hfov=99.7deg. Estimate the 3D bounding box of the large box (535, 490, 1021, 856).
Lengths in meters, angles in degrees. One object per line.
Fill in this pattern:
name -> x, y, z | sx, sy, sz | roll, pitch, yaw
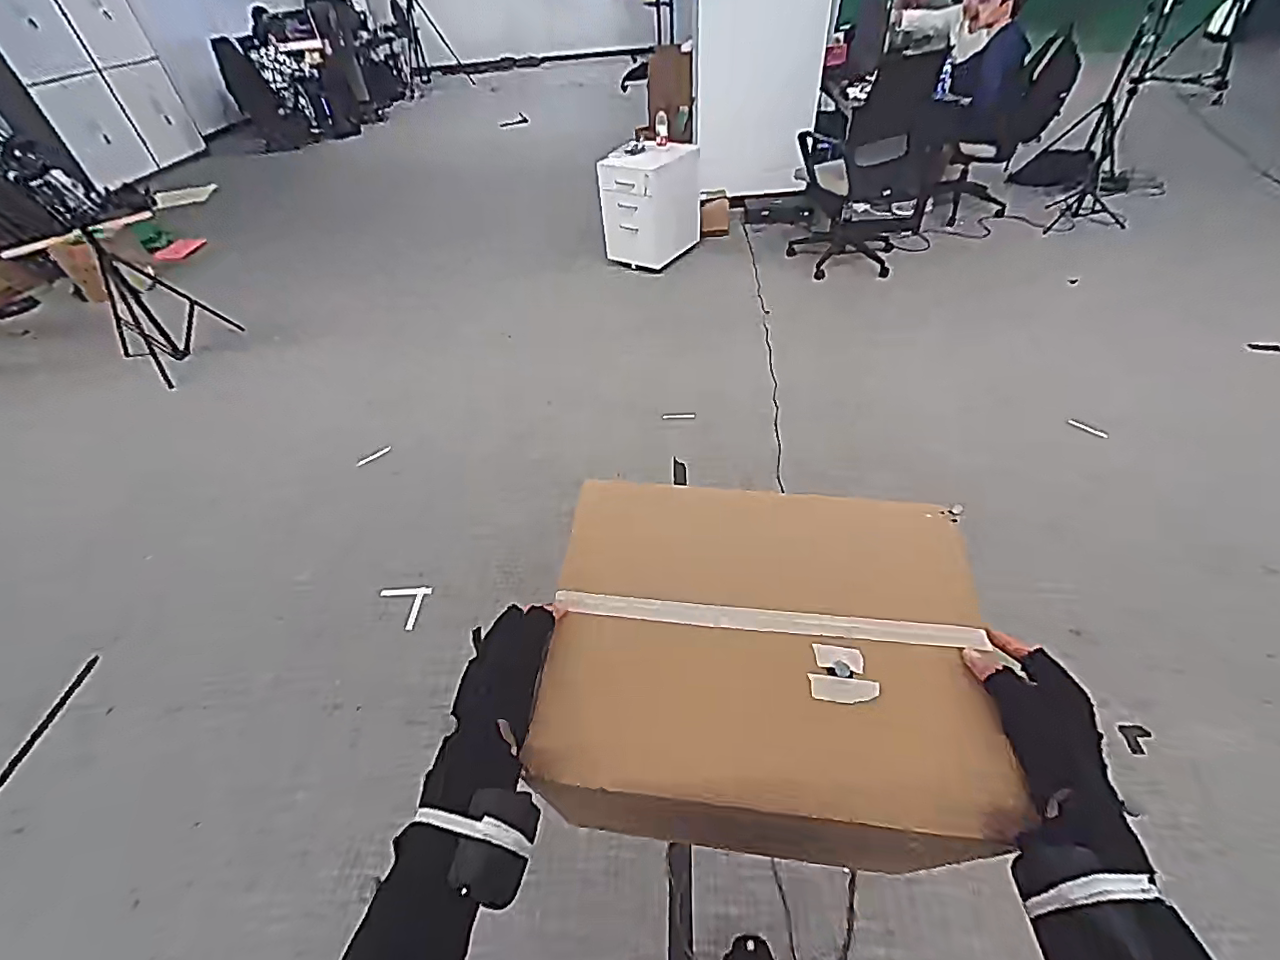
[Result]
large box -> 0.124, 0.234, 0.649 | 0.408, 0.320, 0.320 | 4, 52, 6
